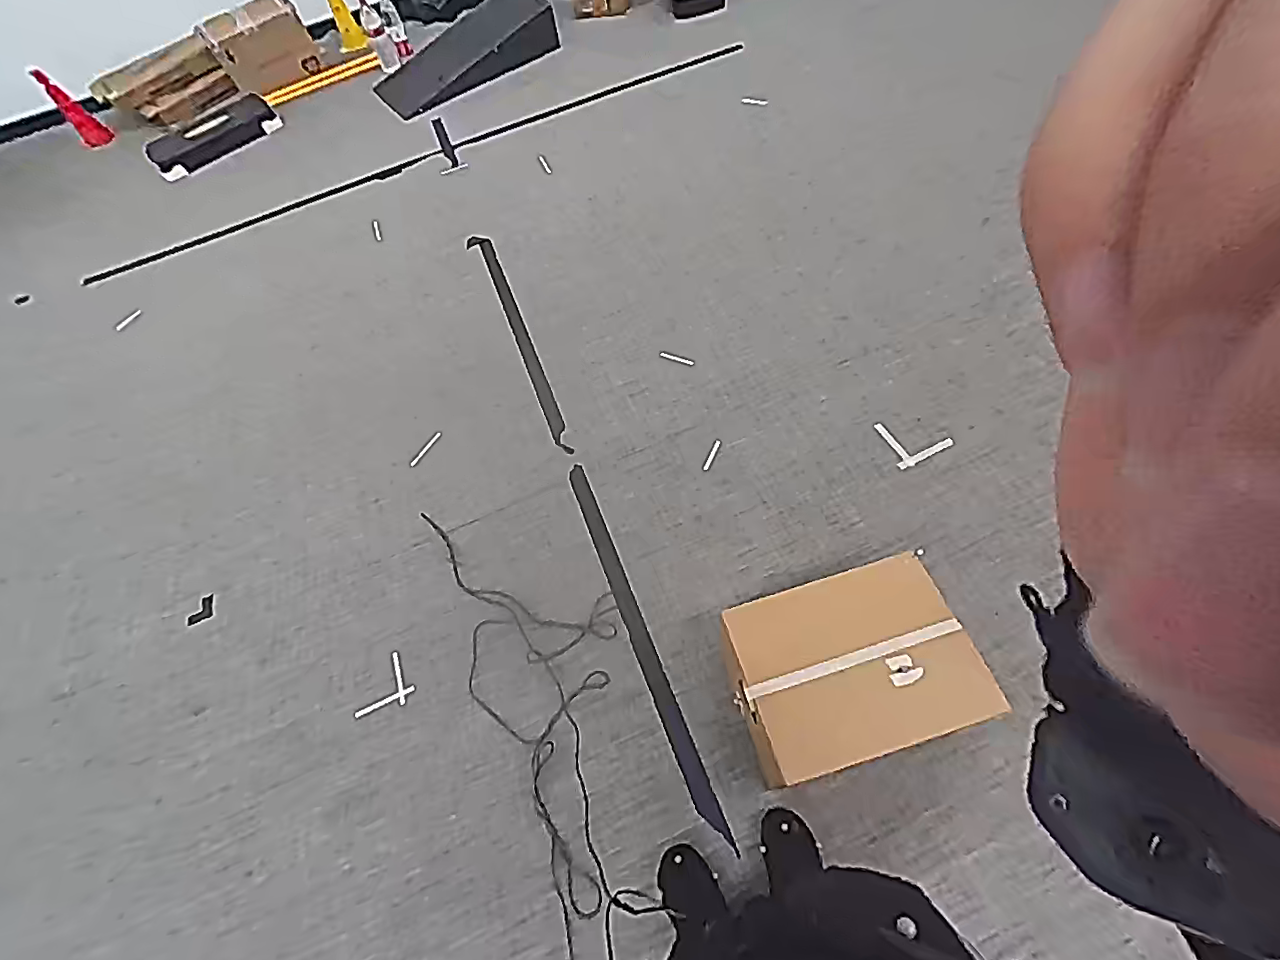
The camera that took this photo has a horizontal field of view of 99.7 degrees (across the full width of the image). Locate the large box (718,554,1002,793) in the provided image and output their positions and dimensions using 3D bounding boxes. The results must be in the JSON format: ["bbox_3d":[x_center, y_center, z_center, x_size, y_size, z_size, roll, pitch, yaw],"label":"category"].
[{"bbox_3d":[0.402,0.404,1.106,0.408,0.320,0.320,-17,59,-3],"label":"large box"}]
